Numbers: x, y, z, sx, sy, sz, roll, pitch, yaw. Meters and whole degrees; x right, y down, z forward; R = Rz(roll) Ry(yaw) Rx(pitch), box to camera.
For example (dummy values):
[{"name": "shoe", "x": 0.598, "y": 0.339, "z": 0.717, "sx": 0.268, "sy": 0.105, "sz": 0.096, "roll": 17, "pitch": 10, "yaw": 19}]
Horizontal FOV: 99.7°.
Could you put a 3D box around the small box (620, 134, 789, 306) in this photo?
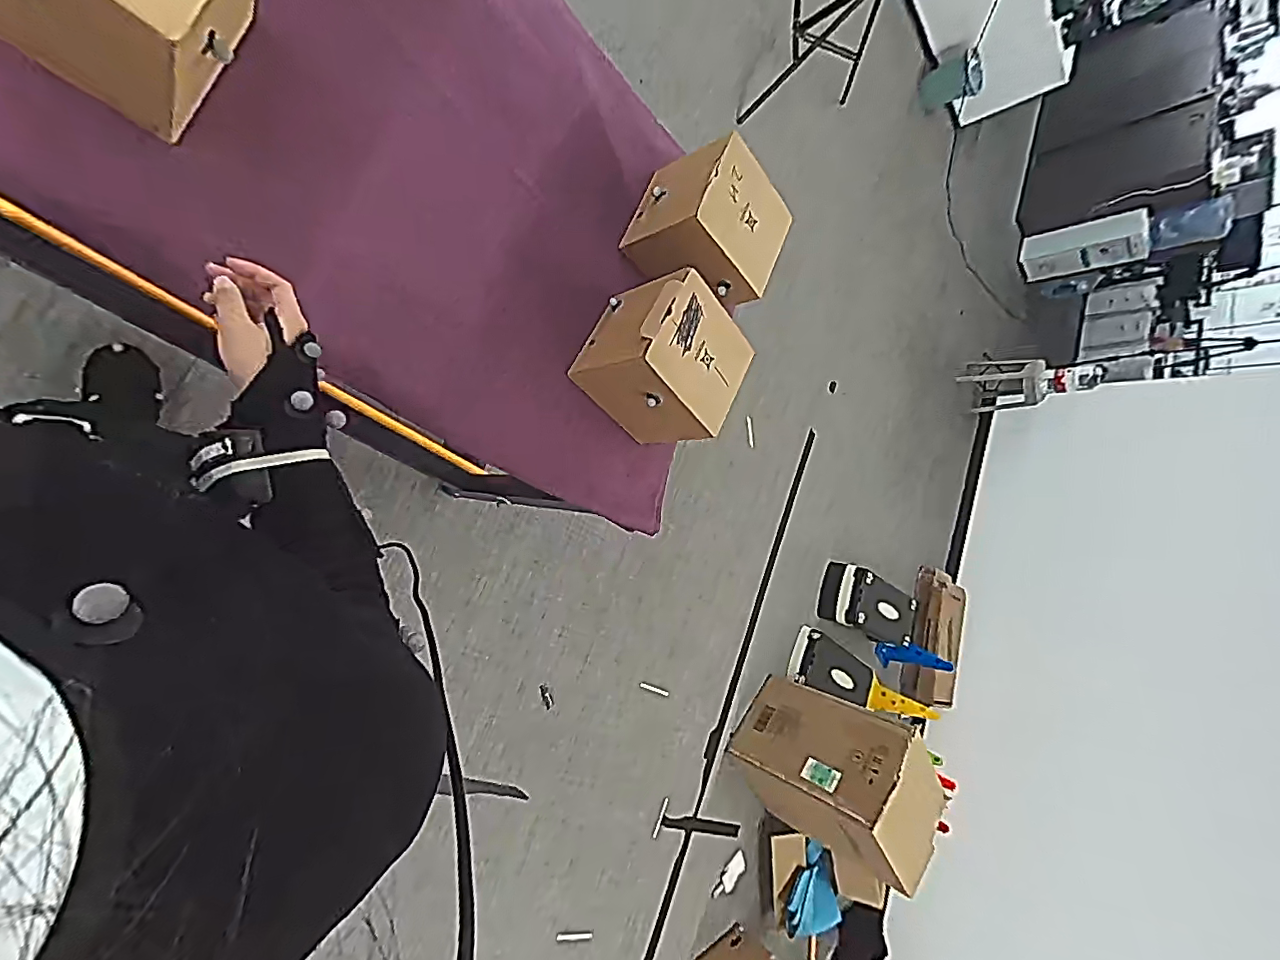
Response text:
[{"name": "small box", "x": 0.103, "y": -0.393, "z": 0.863, "sx": 0.179, "sy": 0.176, "sz": 0.168, "roll": 35, "pitch": 70, "yaw": -37}]

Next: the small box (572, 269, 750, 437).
[{"name": "small box", "x": 0.029, "y": -0.175, "z": 0.810, "sx": 0.179, "sy": 0.176, "sz": 0.168, "roll": 42, "pitch": 64, "yaw": -35}]

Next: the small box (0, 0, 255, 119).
[{"name": "small box", "x": -0.414, "y": -0.419, "z": 0.409, "sx": 0.179, "sy": 0.176, "sz": 0.168, "roll": 28, "pitch": 73, "yaw": -38}]
